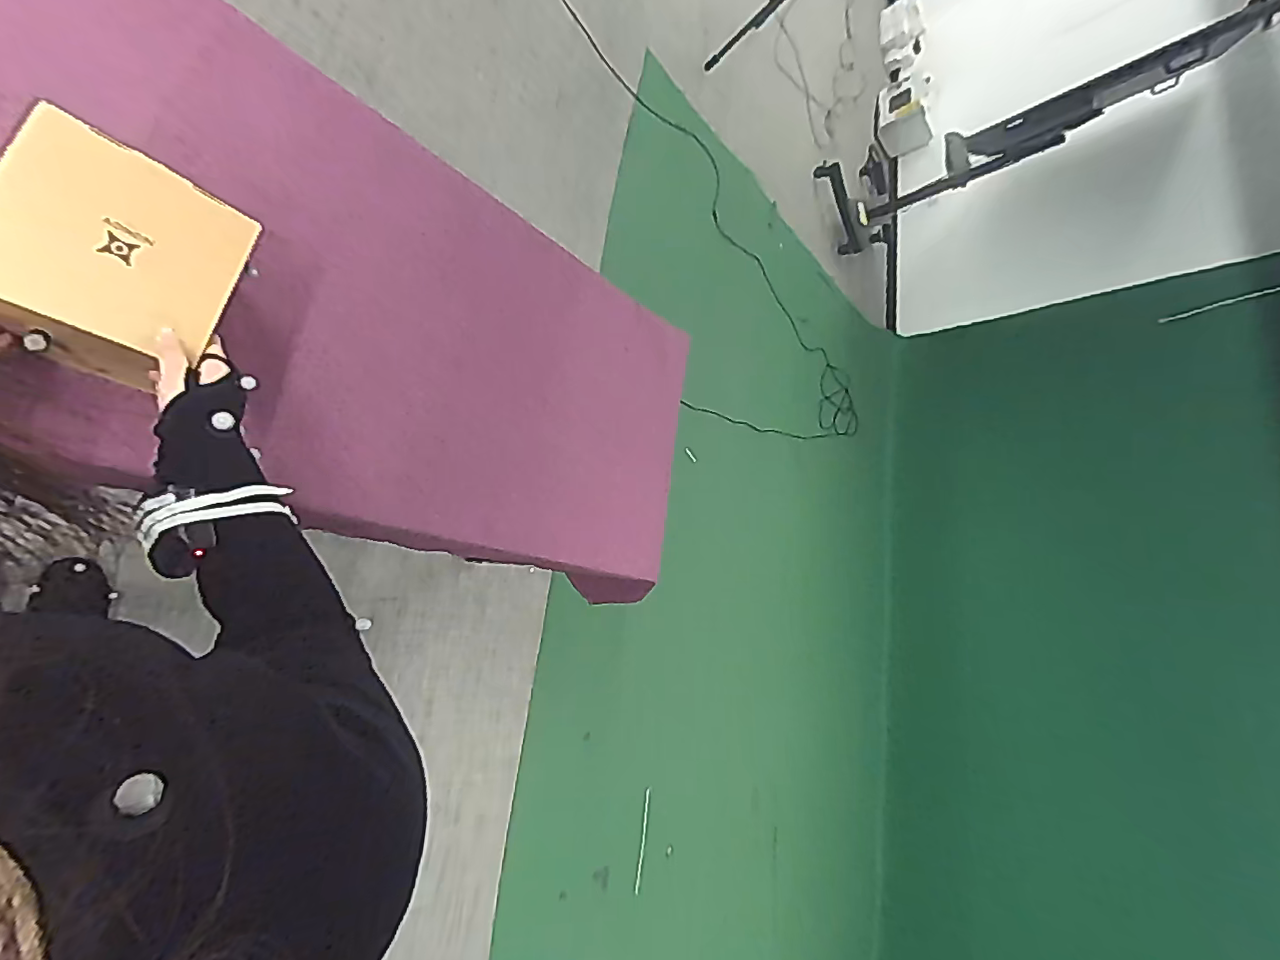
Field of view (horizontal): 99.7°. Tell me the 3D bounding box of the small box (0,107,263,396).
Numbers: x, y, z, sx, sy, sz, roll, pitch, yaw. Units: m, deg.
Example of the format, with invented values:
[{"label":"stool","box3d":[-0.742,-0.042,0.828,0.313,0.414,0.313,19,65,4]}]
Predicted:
[{"label":"small box","box3d":[-0.515,-0.201,0.537,0.168,0.176,0.179,26,67,-42]}]
